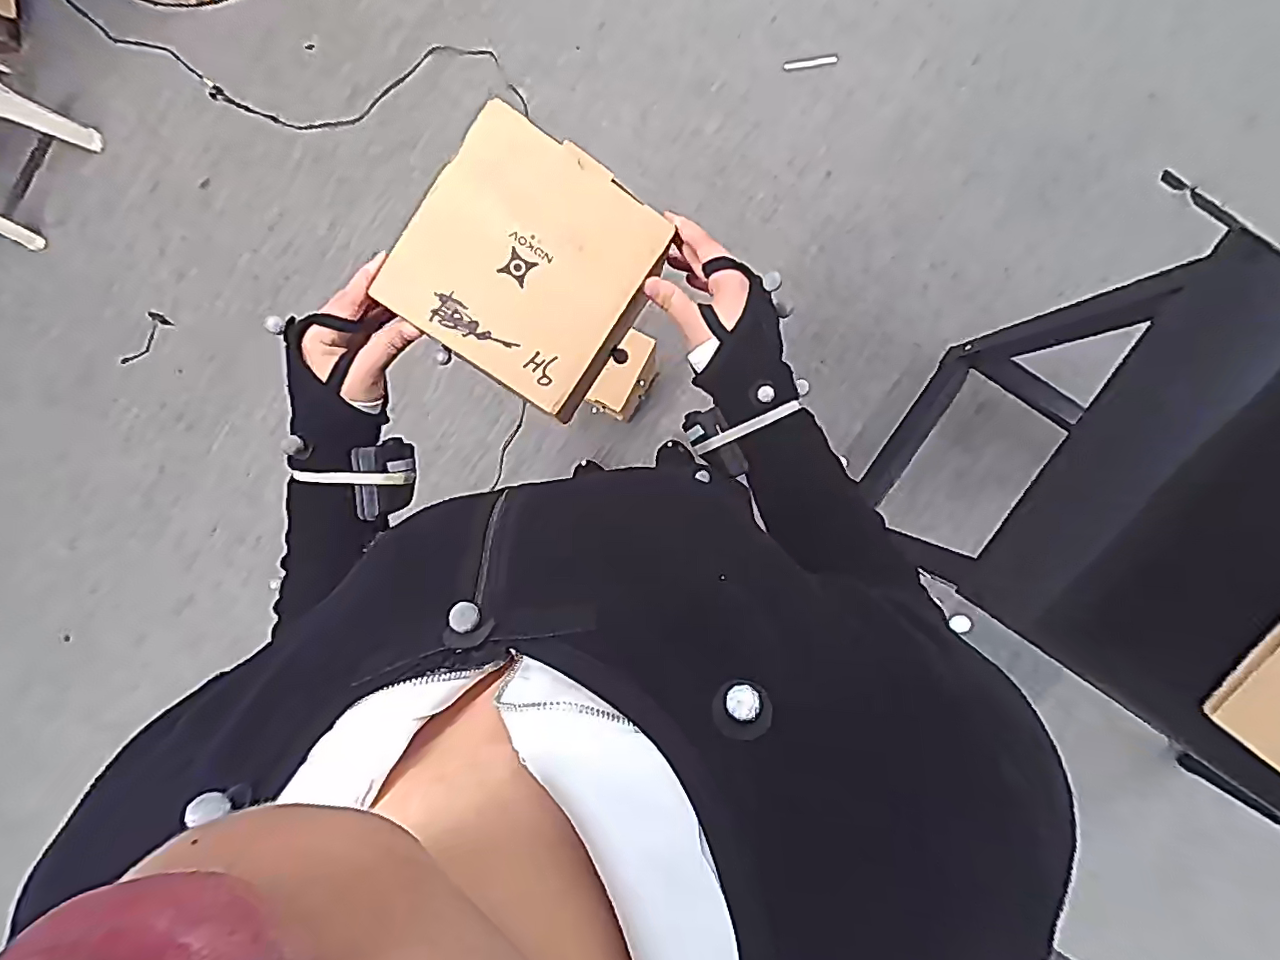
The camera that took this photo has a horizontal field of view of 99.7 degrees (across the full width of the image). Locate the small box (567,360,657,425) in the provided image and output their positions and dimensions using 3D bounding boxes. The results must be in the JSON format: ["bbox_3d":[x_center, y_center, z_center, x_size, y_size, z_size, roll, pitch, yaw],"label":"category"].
[{"bbox_3d":[-0.068,-0.258,1.411,0.168,0.176,0.179,30,94,1],"label":"small box"}]

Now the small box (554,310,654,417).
[{"bbox_3d":[-0.075,-0.258,1.250,0.168,0.176,0.179,27,92,0],"label":"small box"}]
